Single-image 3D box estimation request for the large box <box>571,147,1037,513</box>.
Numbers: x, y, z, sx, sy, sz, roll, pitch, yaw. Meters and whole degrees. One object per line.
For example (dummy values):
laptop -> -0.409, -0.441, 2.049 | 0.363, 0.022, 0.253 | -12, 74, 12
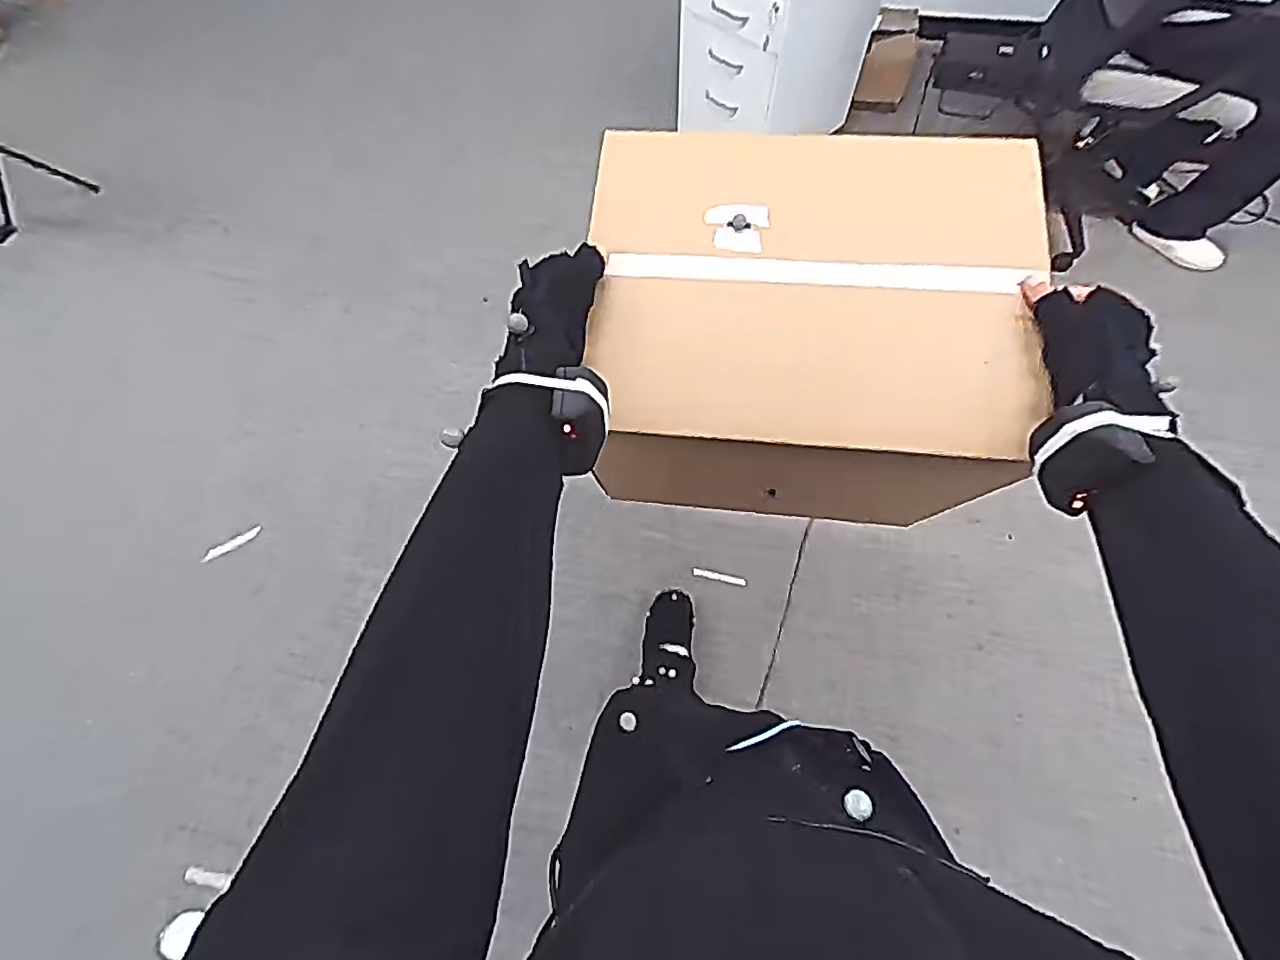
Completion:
large box -> 0.164, -0.147, 0.646 | 0.408, 0.320, 0.320 | 5, 76, 7
